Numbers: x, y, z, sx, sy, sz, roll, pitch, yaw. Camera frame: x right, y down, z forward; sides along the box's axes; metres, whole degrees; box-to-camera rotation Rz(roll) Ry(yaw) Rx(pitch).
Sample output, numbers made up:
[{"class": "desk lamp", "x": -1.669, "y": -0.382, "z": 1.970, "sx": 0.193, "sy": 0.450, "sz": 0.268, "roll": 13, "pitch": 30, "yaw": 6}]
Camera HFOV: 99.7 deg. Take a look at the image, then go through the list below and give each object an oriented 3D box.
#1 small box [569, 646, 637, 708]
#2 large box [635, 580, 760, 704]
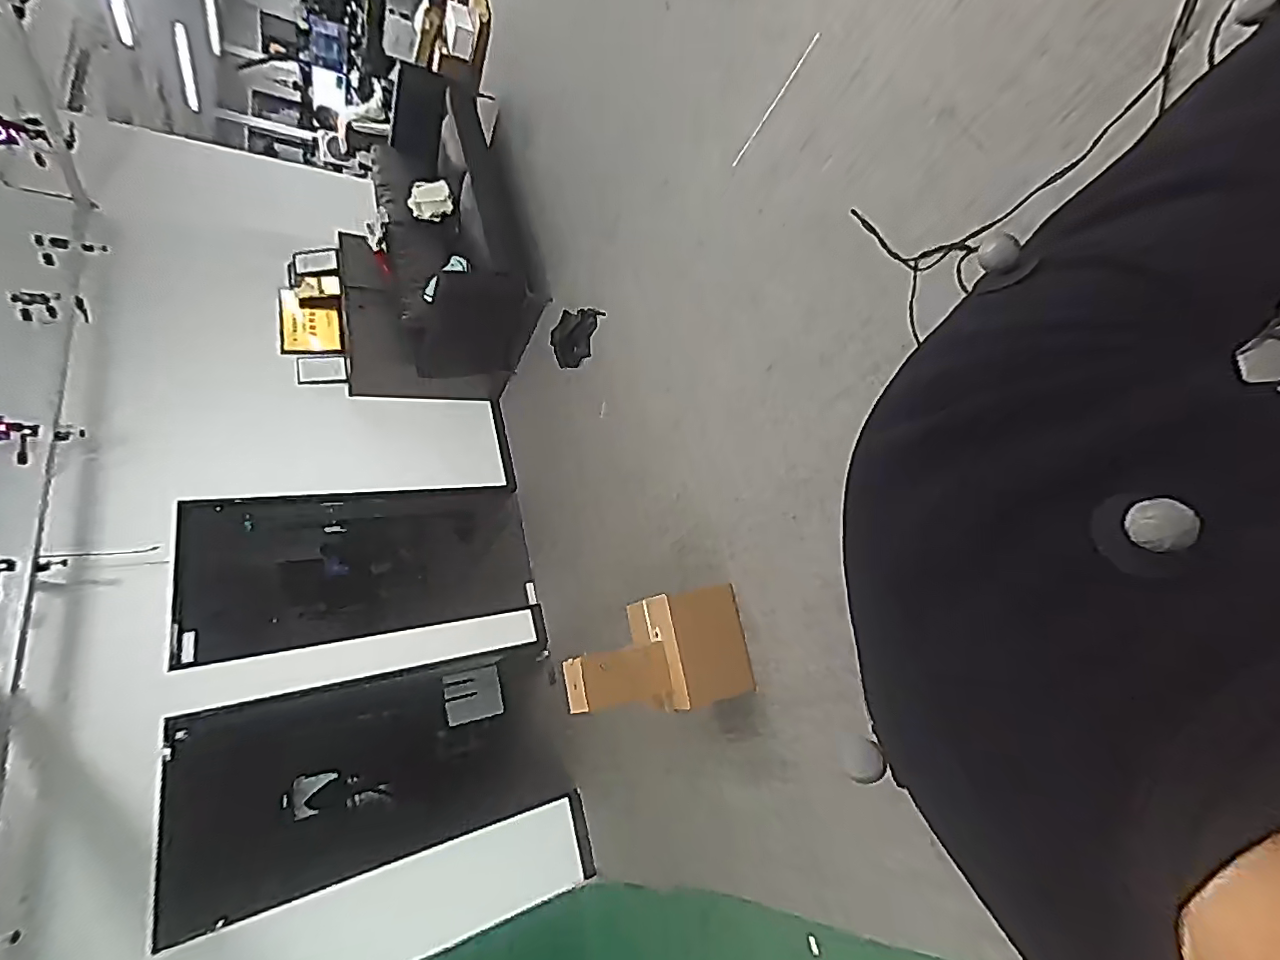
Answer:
[{"class": "small box", "x": -0.130, "y": 0.687, "z": 1.894, "sx": 0.168, "sy": 0.176, "sz": 0.179, "roll": -40, "pitch": 58, "yaw": 54}, {"class": "large box", "x": 0.216, "y": 0.629, "z": 2.106, "sx": 0.320, "sy": 0.320, "sz": 0.408, "roll": -35, "pitch": 62, "yaw": 54}]
